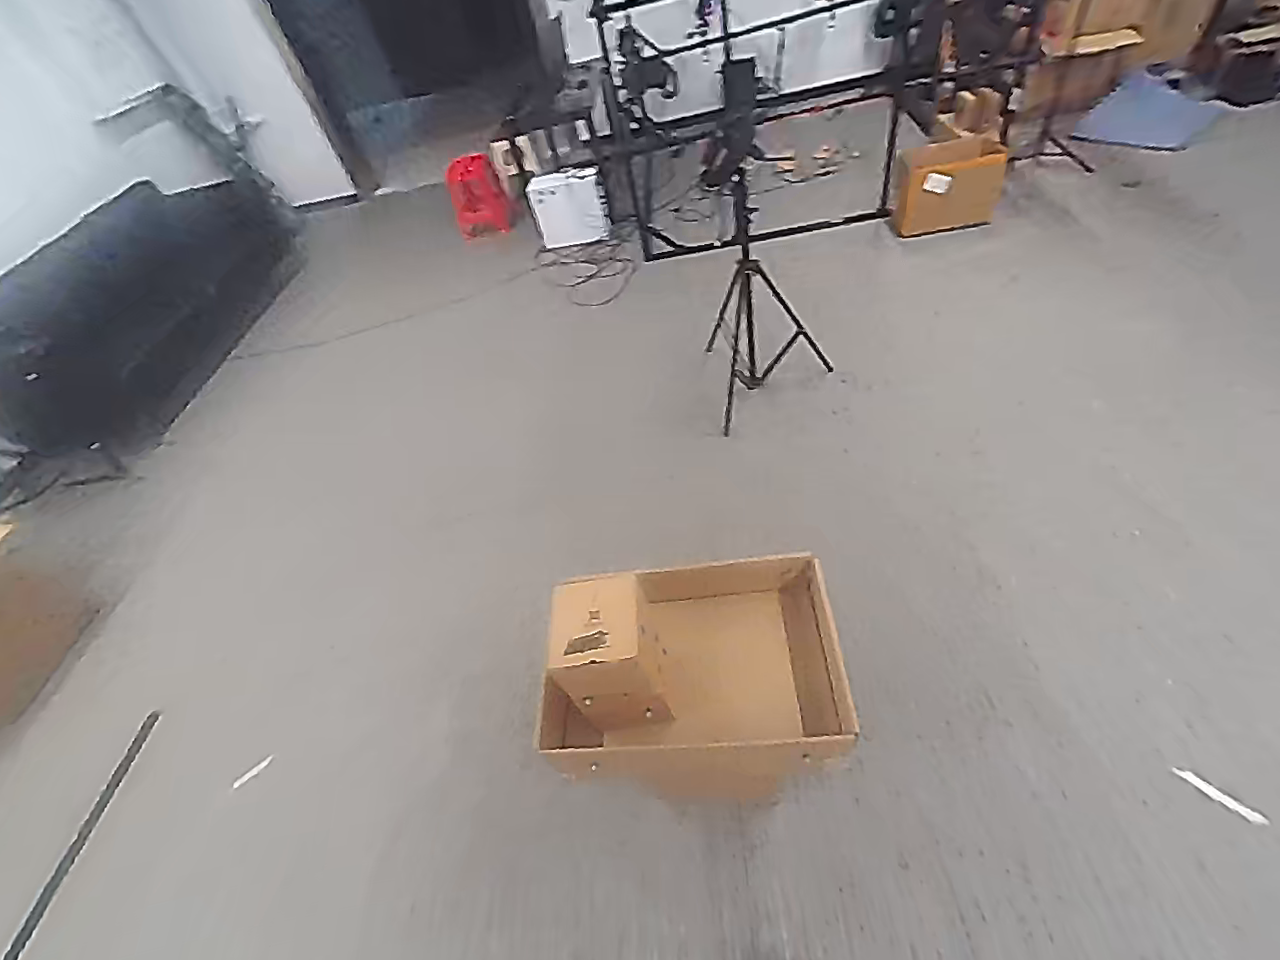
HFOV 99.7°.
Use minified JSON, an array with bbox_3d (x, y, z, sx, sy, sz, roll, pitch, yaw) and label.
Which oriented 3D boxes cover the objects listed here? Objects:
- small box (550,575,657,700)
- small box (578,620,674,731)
[{"bbox_3d":[-0.064,0.313,1.052,0.168,0.176,0.179,-10,45,8],"label":"small box"},{"bbox_3d":[-0.025,0.424,1.167,0.179,0.176,0.168,-11,46,8],"label":"small box"}]
